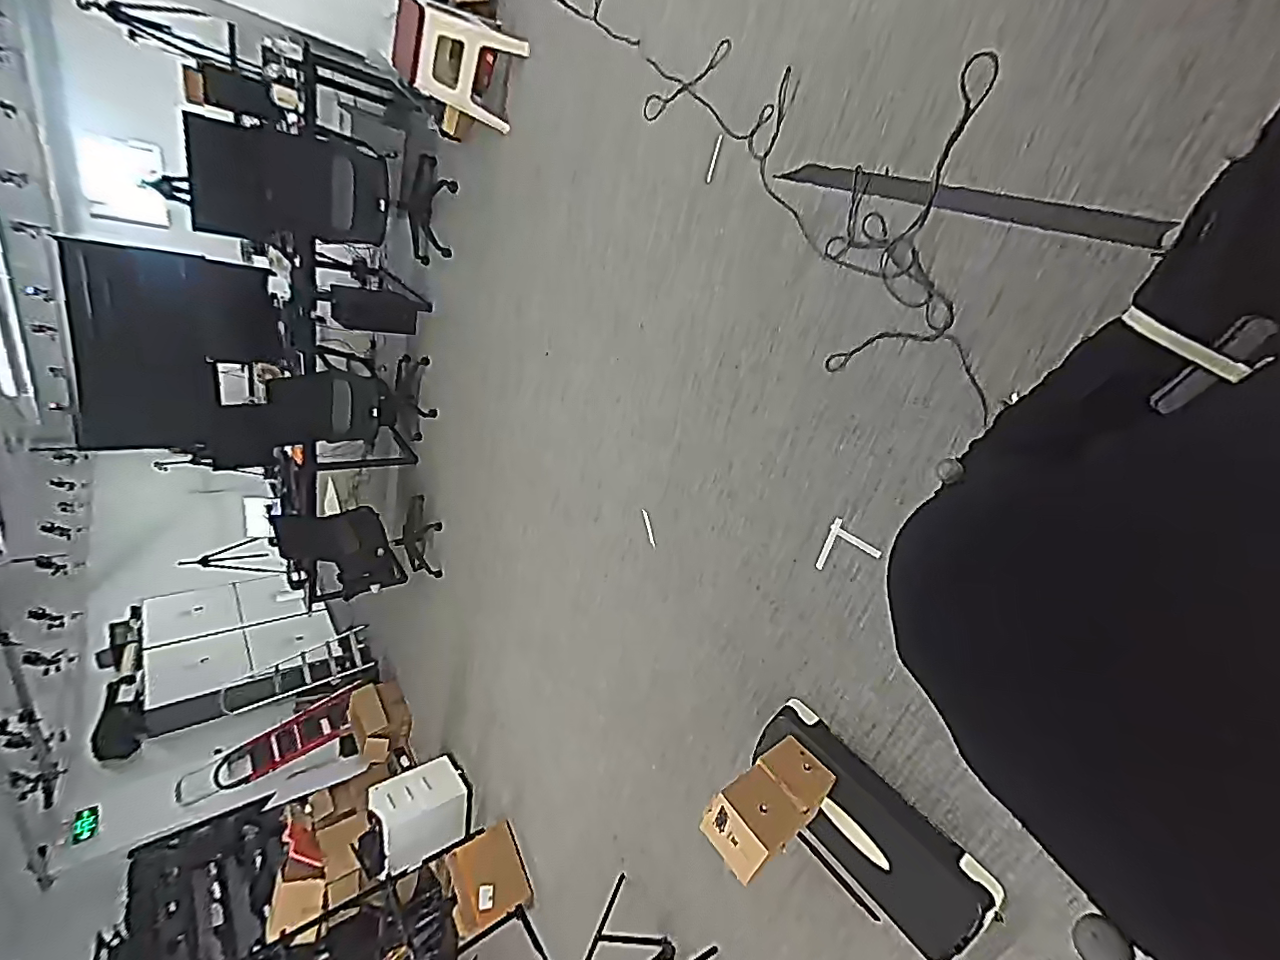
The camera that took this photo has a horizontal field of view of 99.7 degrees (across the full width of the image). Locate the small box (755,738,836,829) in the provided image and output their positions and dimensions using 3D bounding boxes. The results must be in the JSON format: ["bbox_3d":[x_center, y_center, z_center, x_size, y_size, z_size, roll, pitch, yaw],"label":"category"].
[{"bbox_3d":[0.433,0.890,1.556,0.168,0.176,0.179,36,121,40],"label":"small box"}]

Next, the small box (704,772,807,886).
[{"bbox_3d":[0.309,0.921,1.452,0.179,0.176,0.168,41,124,37],"label":"small box"}]
